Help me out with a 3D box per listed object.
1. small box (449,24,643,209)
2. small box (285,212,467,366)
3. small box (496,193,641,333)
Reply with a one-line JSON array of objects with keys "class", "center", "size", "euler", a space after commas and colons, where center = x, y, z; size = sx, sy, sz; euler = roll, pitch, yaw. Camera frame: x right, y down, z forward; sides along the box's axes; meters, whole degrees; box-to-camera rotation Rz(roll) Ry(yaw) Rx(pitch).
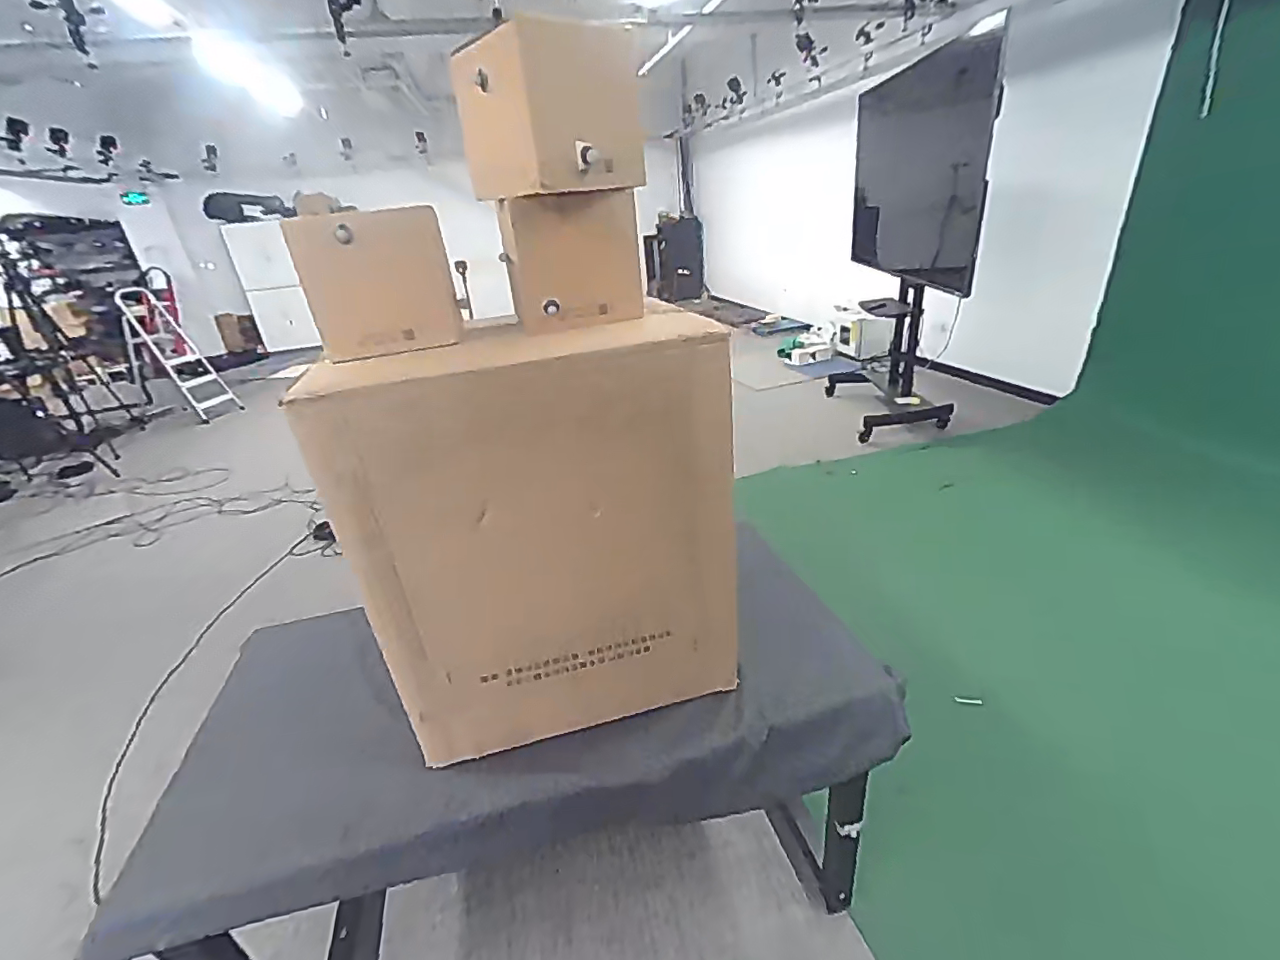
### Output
[{"class": "small box", "center": [-0.116, -0.449, 0.691], "size": [0.168, 0.176, 0.179], "euler": [-28, 36, -32]}, {"class": "small box", "center": [-0.344, -0.264, 0.745], "size": [0.168, 0.176, 0.179], "euler": [-13, 27, -10]}, {"class": "small box", "center": [-0.104, -0.318, 0.789], "size": [0.168, 0.176, 0.179], "euler": [-14, 28, -14]}]
